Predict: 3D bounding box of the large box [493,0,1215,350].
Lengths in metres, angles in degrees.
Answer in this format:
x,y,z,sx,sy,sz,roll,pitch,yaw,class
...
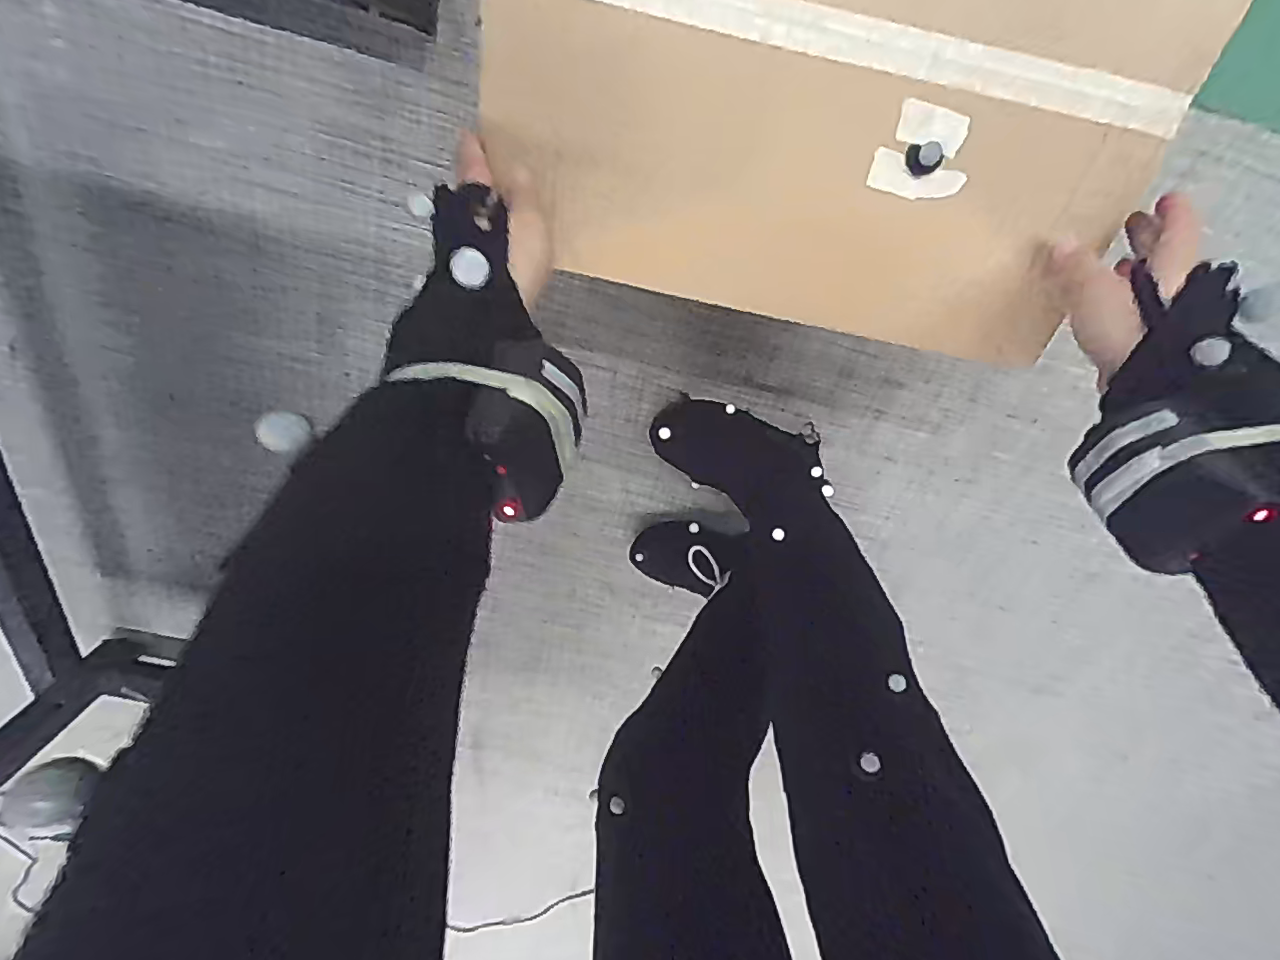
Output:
x,y,z,sx,sy,sz,roll,pitch,yaw,class
0.120,-0.332,0.449,0.408,0.320,0.320,11,120,-3,large box
